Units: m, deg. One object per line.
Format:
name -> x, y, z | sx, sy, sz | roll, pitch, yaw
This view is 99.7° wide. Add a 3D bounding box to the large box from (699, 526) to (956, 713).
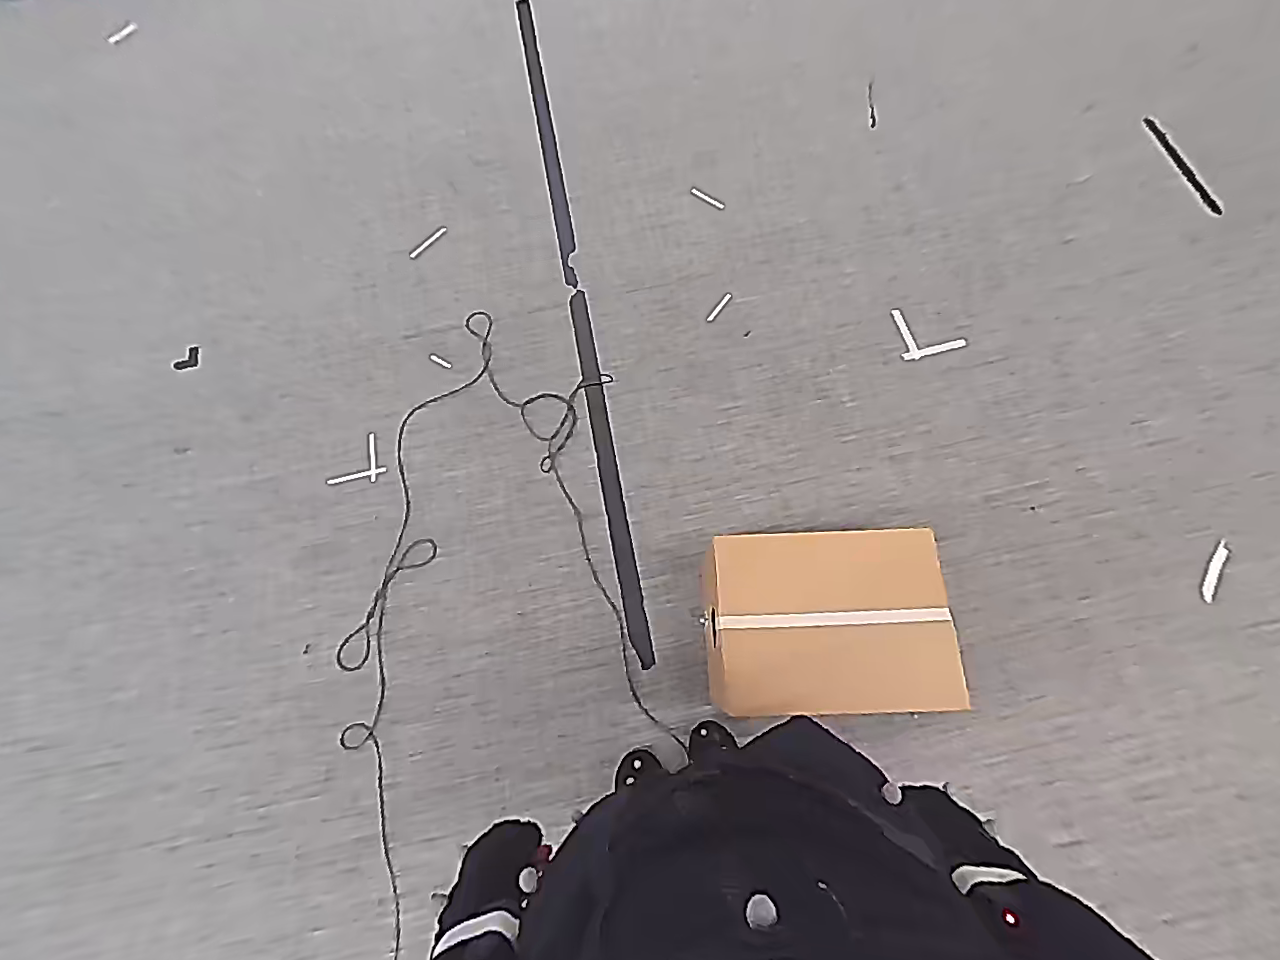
large box -> 0.337, 0.288, 1.100 | 0.408, 0.320, 0.320 | -2, 70, 1
